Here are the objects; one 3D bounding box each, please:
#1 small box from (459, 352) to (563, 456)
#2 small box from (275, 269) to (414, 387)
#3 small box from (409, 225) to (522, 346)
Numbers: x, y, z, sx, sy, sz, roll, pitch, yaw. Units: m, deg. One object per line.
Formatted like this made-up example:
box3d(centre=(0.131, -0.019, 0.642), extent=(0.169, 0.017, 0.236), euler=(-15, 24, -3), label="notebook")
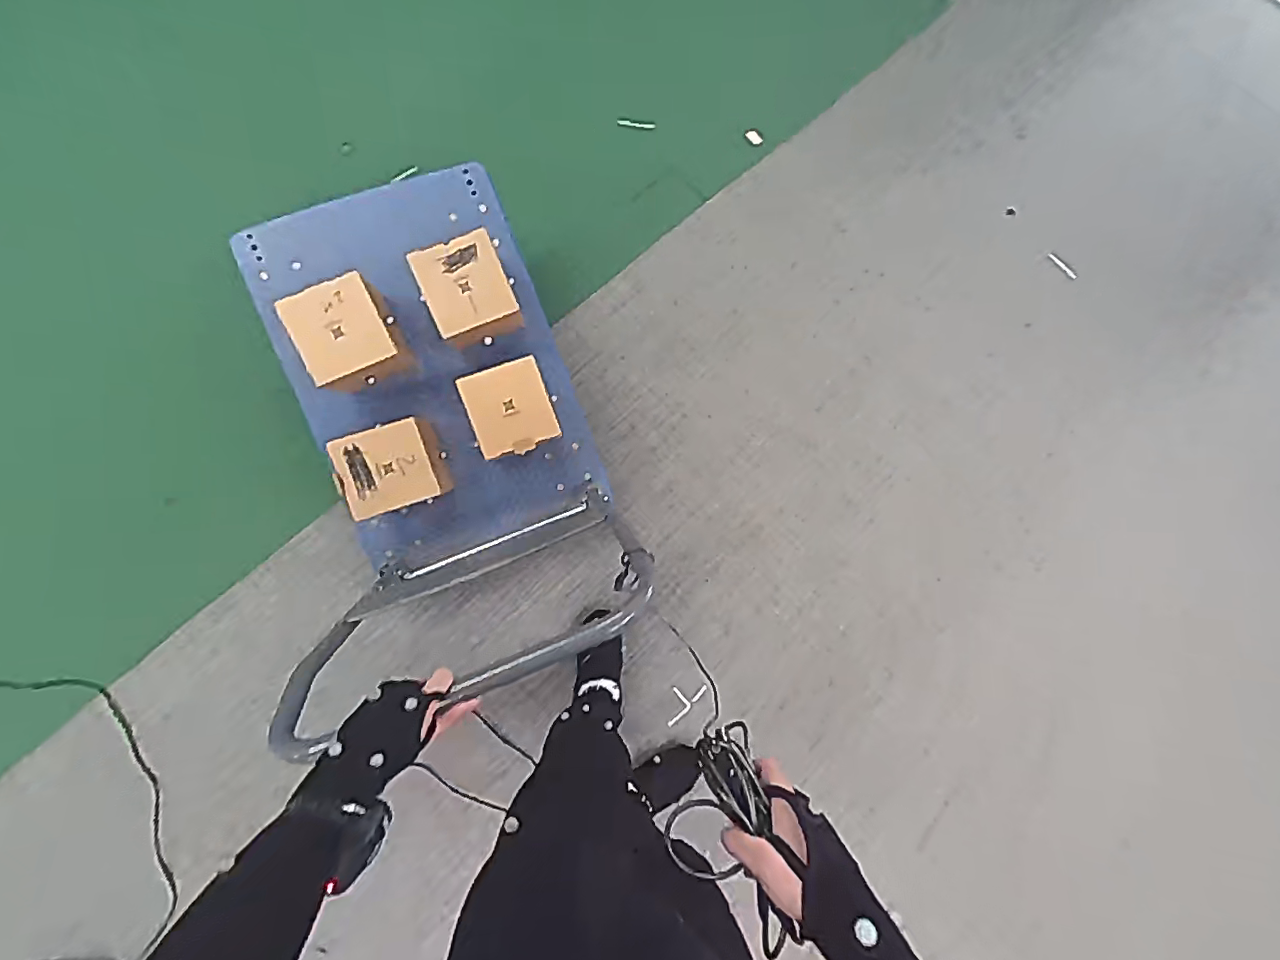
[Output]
box3d(centre=(-0.277, -0.161, 1.181), extent=(0.168, 0.176, 0.179), euler=(-21, 98, -8), label="small box")
box3d(centre=(-0.595, -0.302, 1.117), extent=(0.168, 0.176, 0.179), euler=(-25, 97, -8), label="small box")
box3d(centre=(-0.361, -0.404, 1.149), extent=(0.168, 0.176, 0.179), euler=(-23, 99, -7), label="small box")
